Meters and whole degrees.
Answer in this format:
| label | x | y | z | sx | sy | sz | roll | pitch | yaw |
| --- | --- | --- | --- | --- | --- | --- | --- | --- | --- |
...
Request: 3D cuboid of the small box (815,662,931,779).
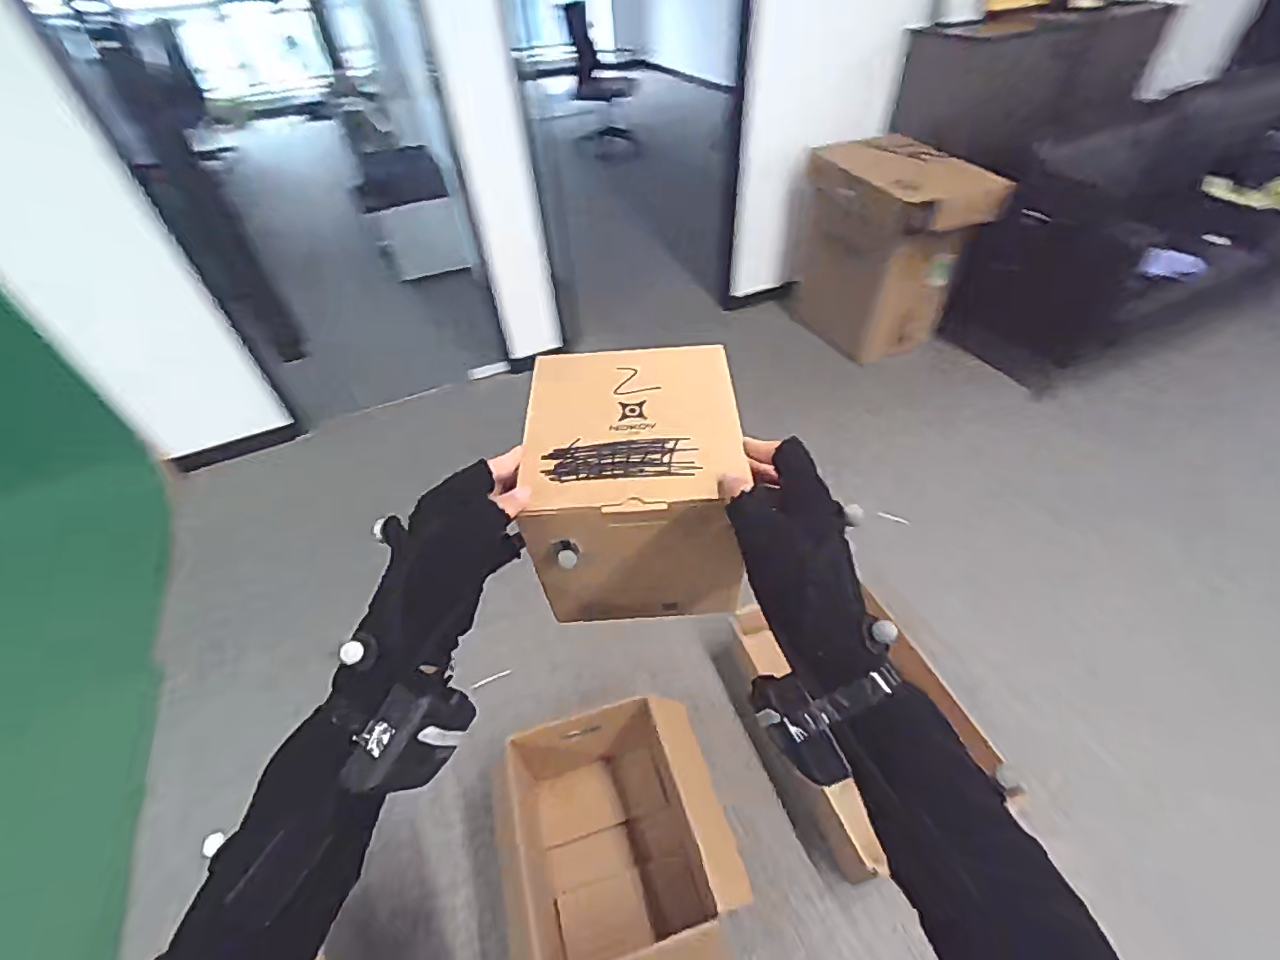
| label | x | y | z | sx | sy | sz | roll | pitch | yaw |
| --- | --- | --- | --- | --- | --- | --- | --- | --- | --- |
| small box | 0.543 | 0.575 | 1.291 | 0.168 | 0.176 | 0.179 | -17 | 46 | -13 |
